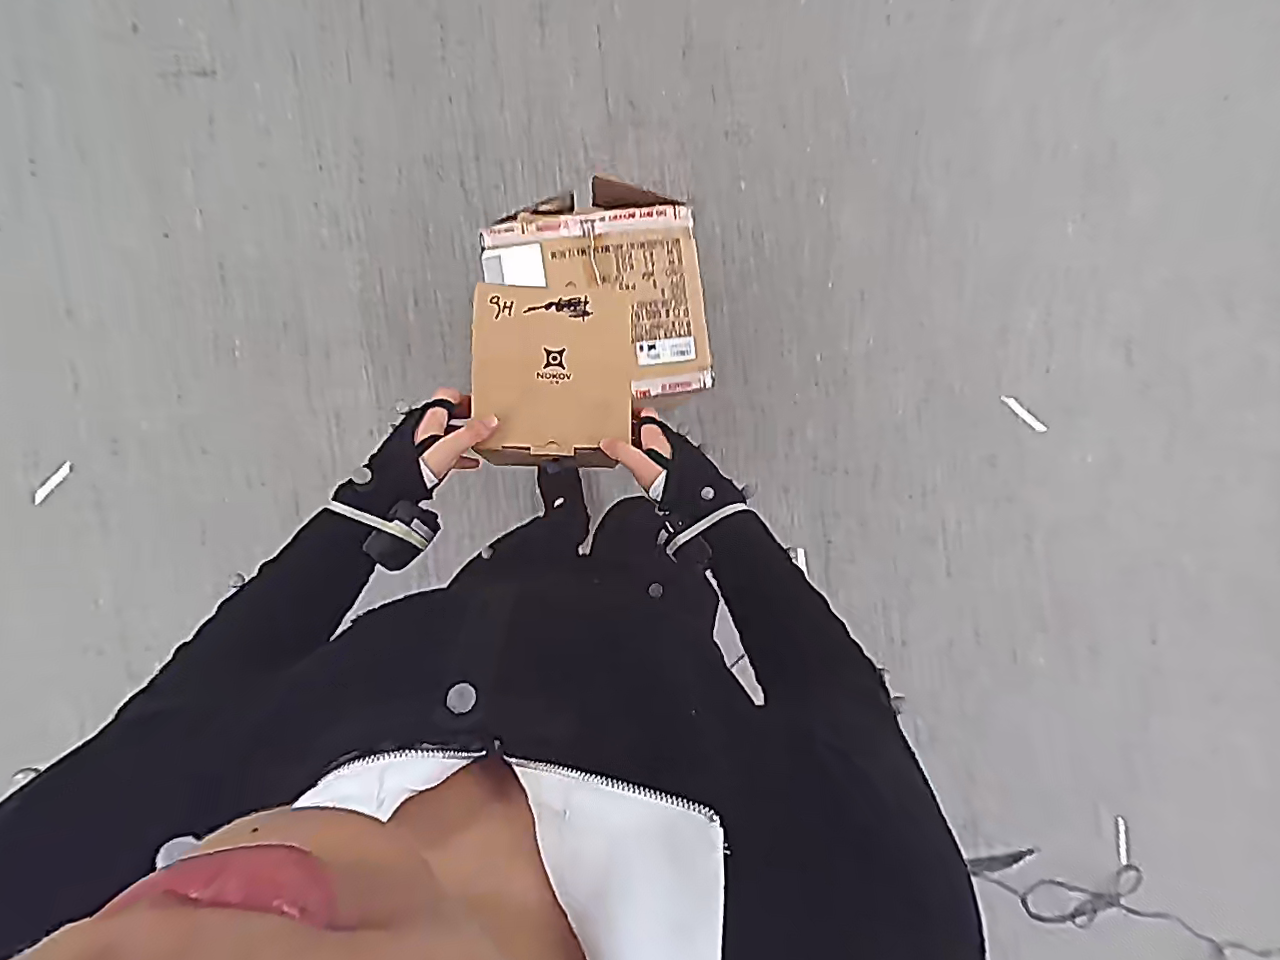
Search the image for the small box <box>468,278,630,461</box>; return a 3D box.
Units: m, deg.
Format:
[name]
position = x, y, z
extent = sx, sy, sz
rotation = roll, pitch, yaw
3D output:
[small box]
position = -0.102, -0.116, 0.640
extent = 0.168, 0.176, 0.179
rotation = 1, 85, -7
